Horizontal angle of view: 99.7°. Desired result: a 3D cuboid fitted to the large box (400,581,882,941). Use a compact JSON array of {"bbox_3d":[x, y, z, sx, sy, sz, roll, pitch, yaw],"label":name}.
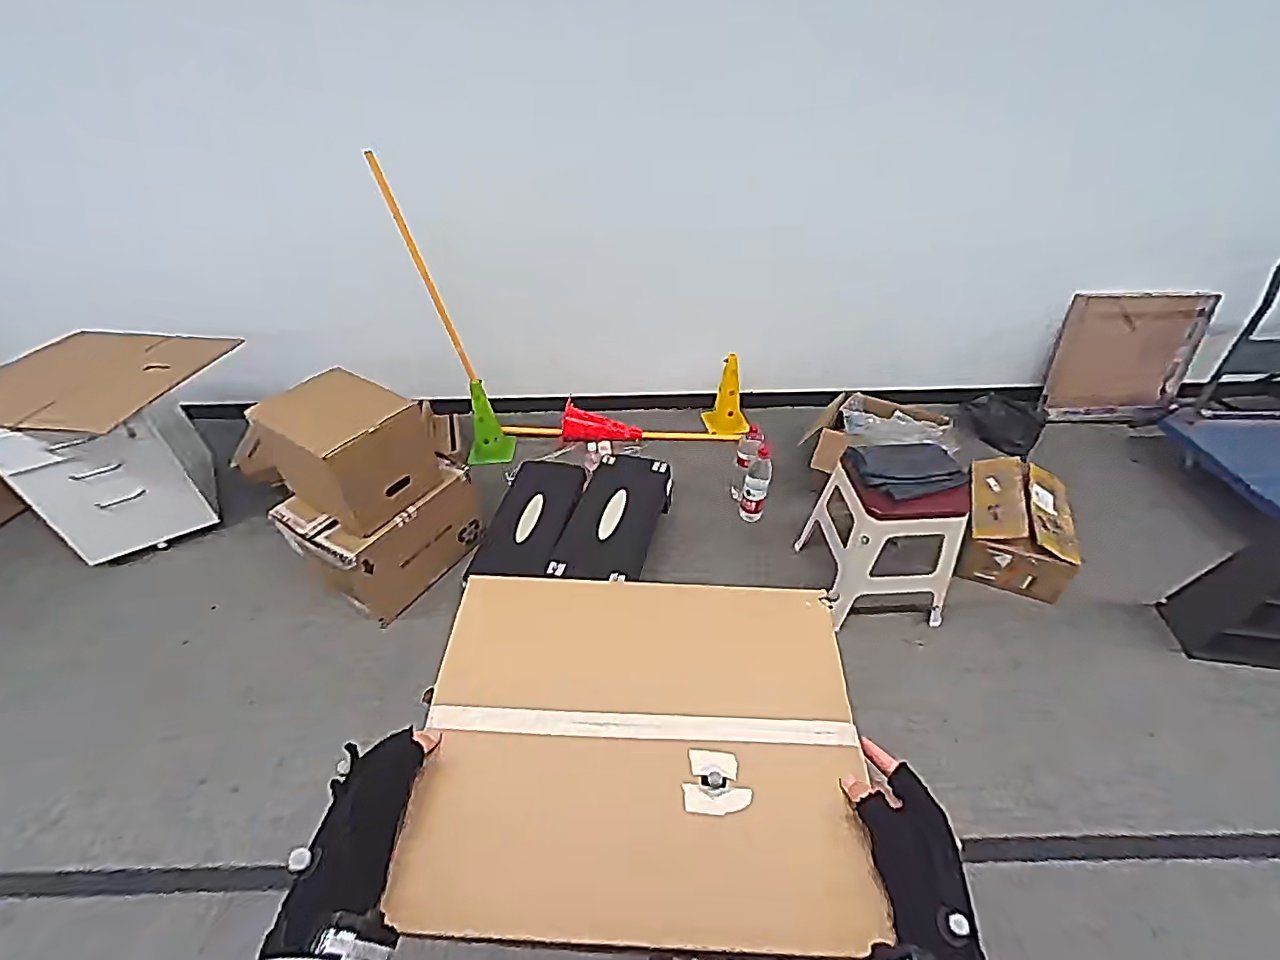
[{"bbox_3d":[0.000,0.339,0.647,0.408,0.320,0.320,3,49,1],"label":"large box"}]
